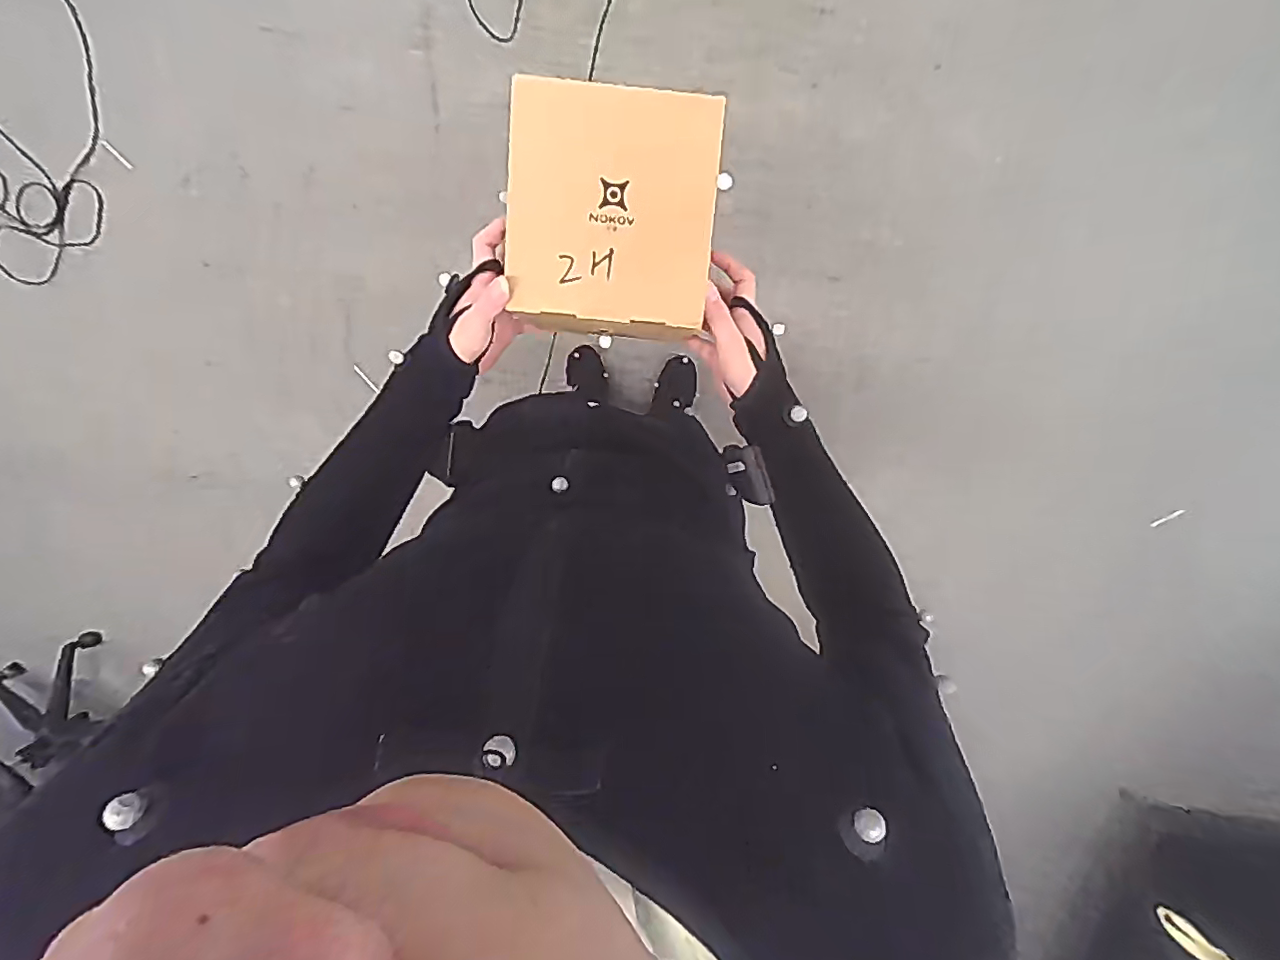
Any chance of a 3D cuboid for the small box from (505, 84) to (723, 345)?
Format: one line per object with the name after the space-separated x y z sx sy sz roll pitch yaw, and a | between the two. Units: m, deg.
-0.027 -0.231 0.518 0.168 0.176 0.179 5 101 -3 | small box
